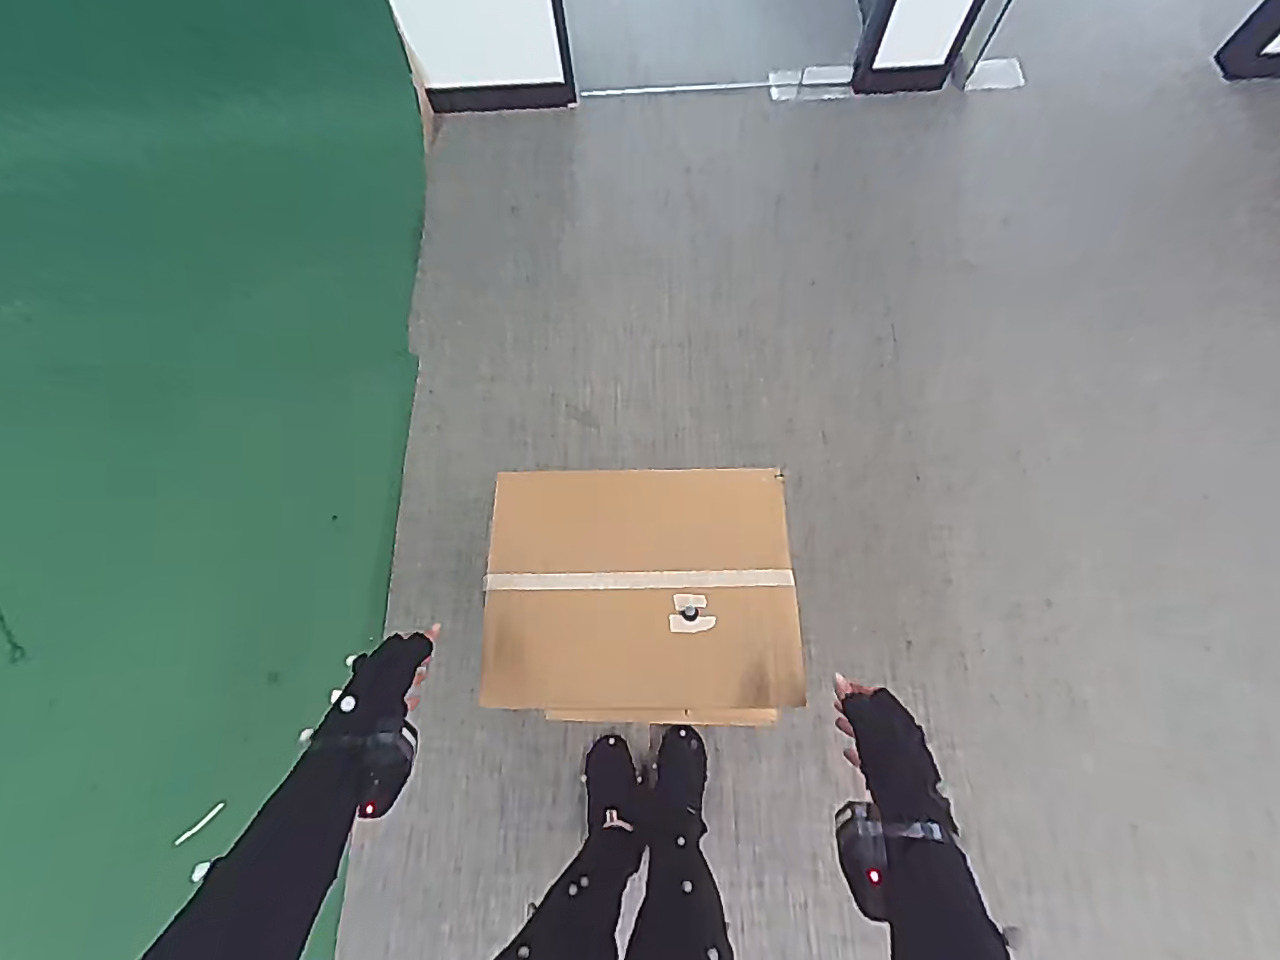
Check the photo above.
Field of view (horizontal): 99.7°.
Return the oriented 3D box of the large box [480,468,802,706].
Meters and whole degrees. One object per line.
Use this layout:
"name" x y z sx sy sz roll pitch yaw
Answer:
"large box" 0.000 0.185 0.850 0.408 0.320 0.320 0 68 1
